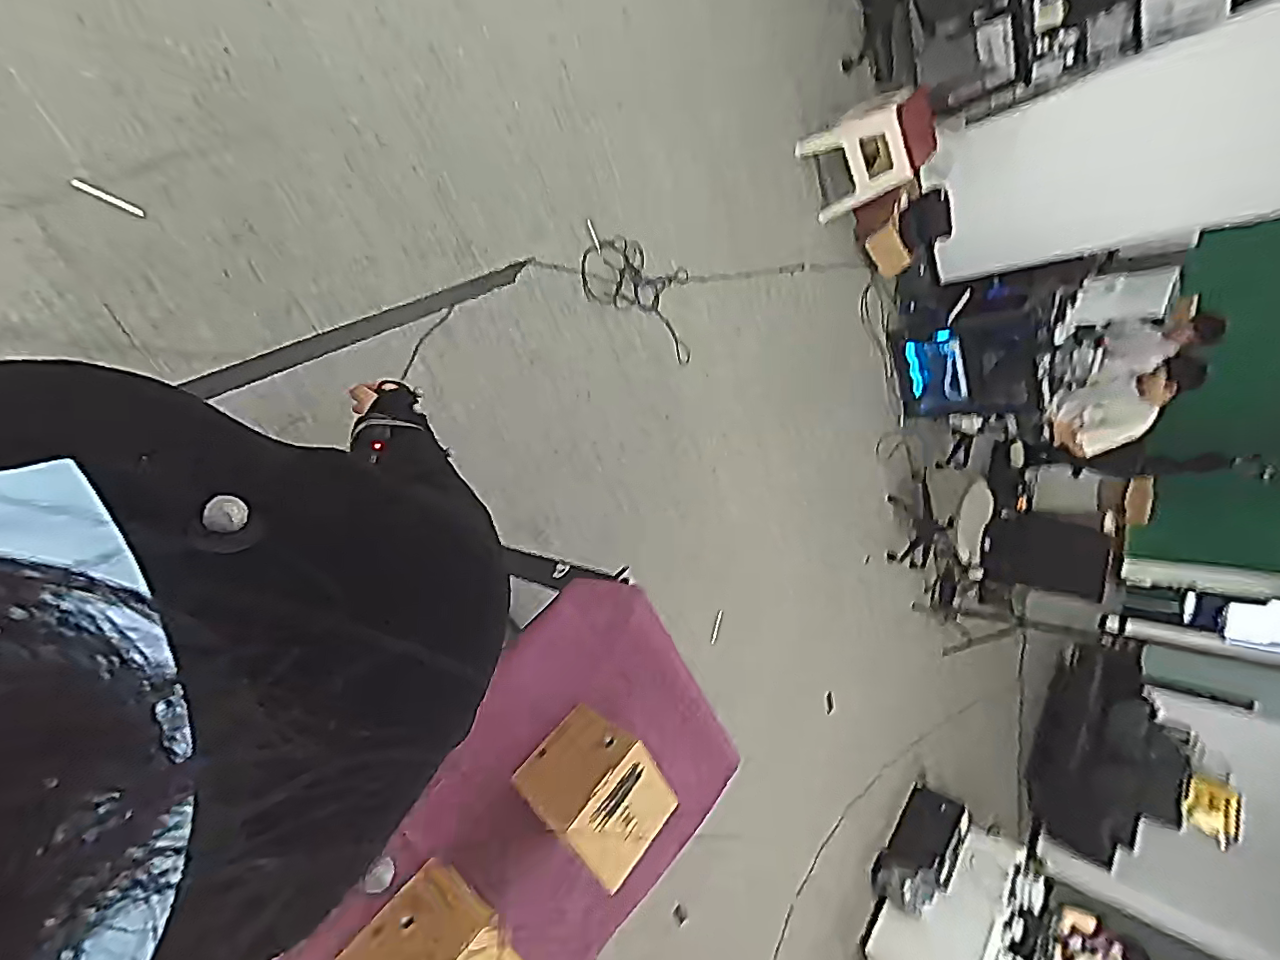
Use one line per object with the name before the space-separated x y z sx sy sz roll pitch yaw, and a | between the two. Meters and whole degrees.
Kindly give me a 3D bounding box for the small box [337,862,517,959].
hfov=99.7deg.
small box | -0.281 0.684 0.747 0.168 0.176 0.179 -40 117 -33
